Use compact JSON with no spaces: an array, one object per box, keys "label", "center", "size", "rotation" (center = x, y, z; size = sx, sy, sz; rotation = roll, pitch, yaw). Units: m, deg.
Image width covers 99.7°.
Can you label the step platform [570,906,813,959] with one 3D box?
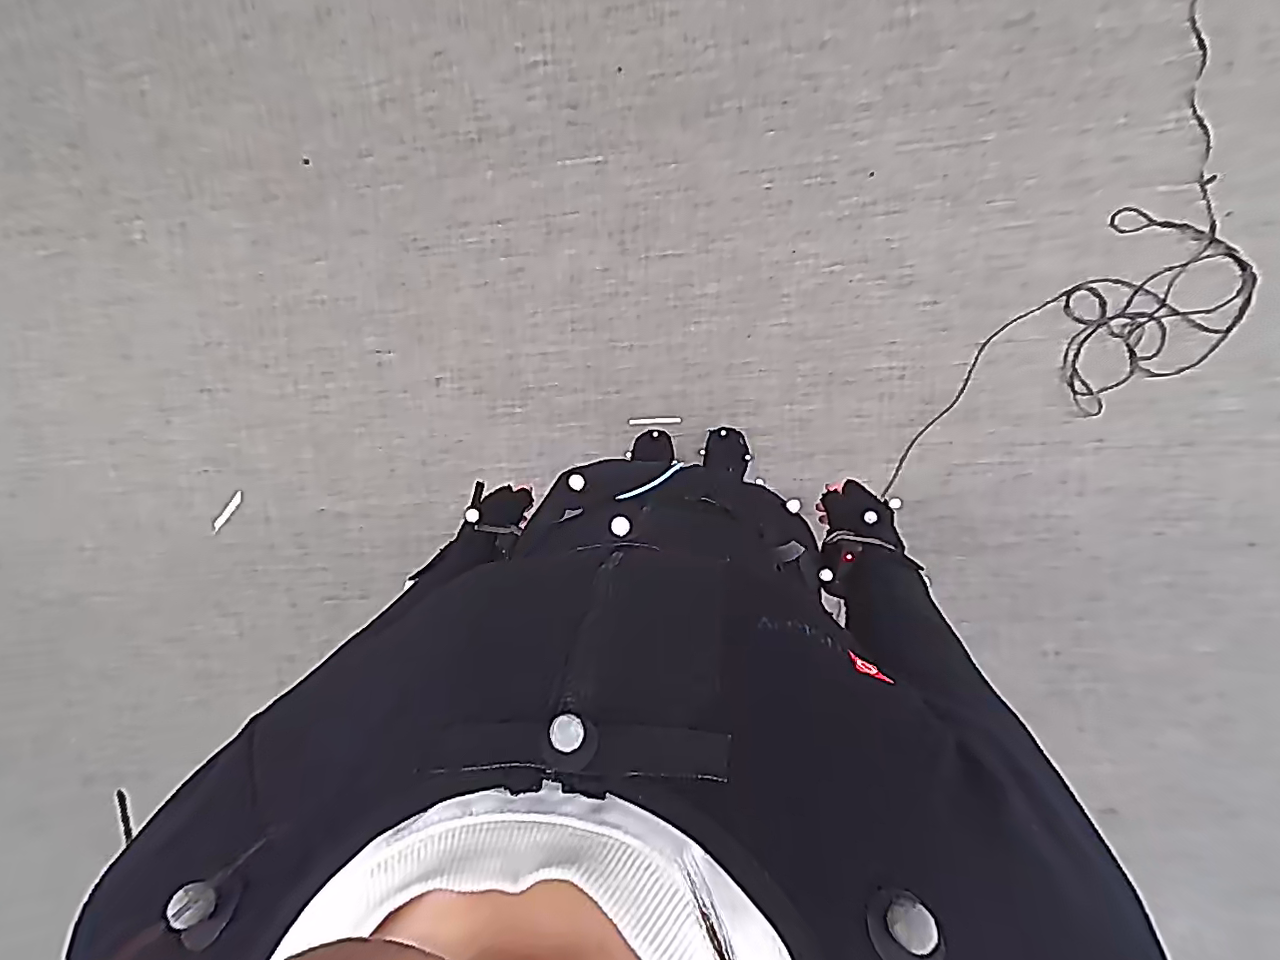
[{"label":"step platform","center":[0.141,1.410,1.499],"size":[0.684,0.204,0.286],"rotation":[-3,96,9]}]
